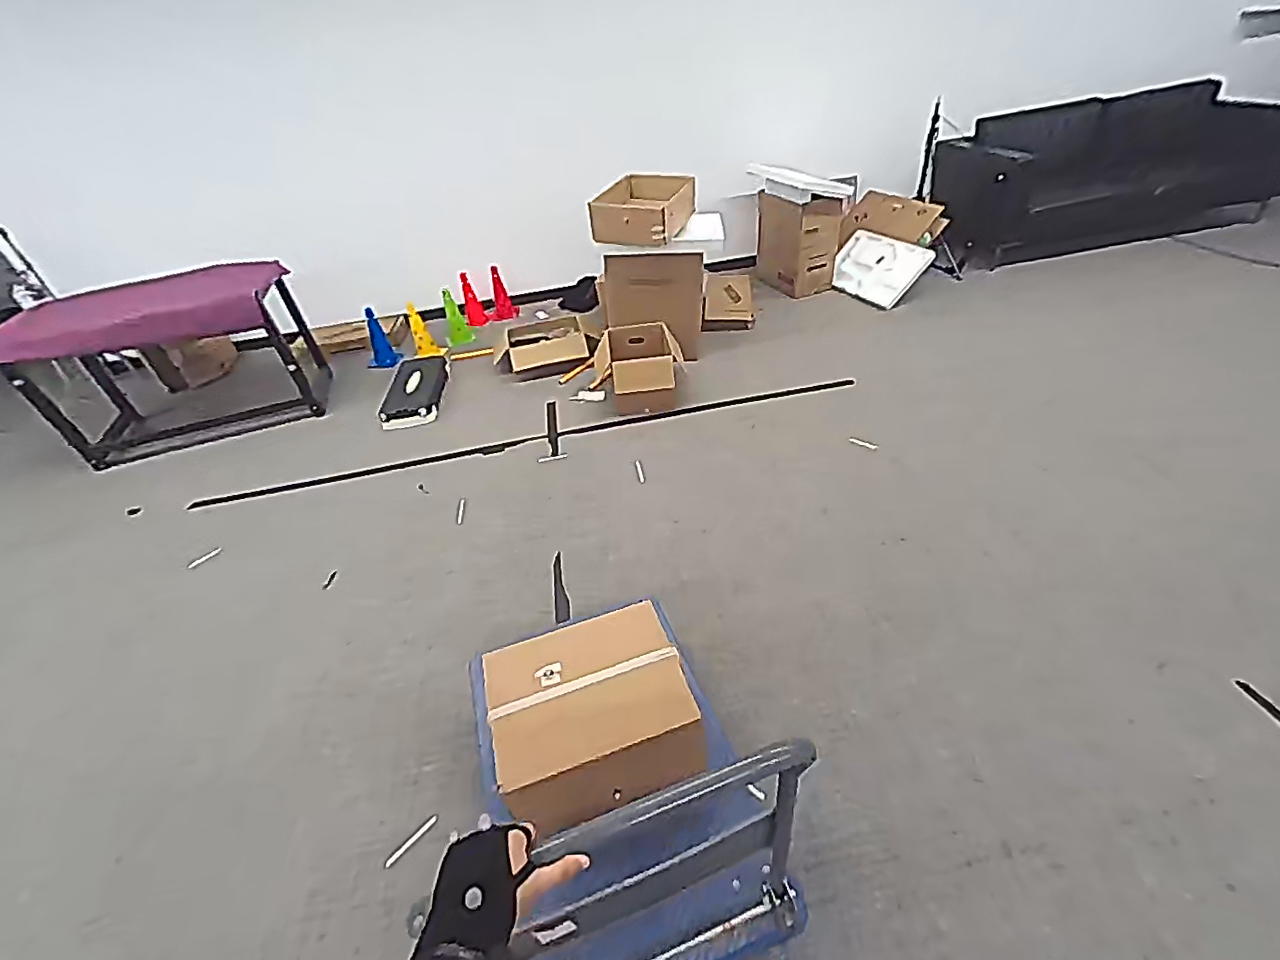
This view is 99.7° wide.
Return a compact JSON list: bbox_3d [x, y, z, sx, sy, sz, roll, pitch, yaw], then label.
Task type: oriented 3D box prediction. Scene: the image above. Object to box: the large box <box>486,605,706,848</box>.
[{"bbox_3d":[-0.095,0.556,1.239,0.408,0.320,0.320,-17,39,-10],"label":"large box"}]
